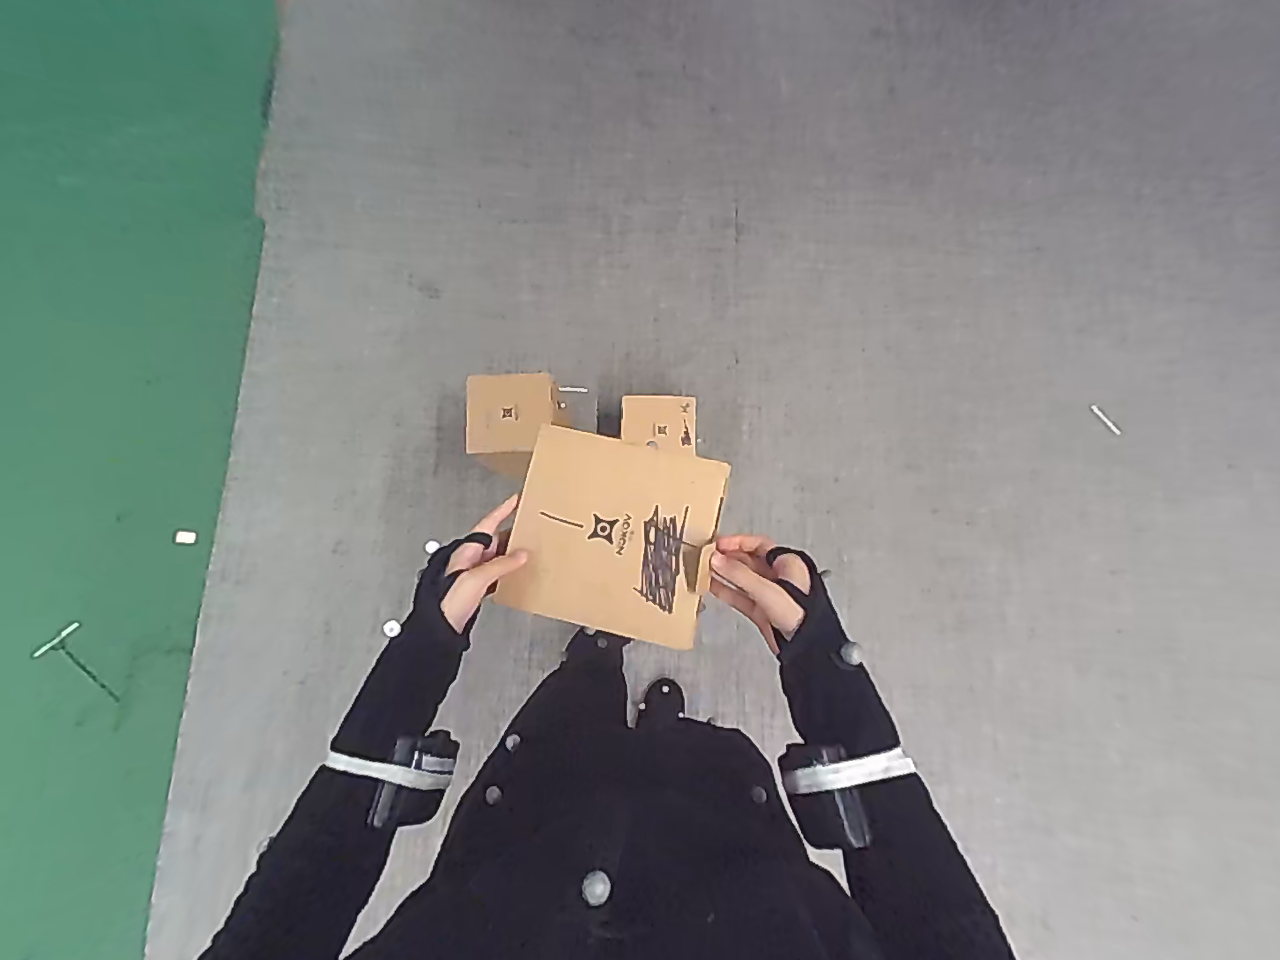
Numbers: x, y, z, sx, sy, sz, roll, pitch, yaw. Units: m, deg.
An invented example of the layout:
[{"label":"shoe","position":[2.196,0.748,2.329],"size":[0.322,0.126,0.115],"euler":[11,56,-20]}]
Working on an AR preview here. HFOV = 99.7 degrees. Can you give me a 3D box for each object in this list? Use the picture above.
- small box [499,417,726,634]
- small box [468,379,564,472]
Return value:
[{"label":"small box","position":[-0.018,0.051,0.562],"size":[0.179,0.176,0.168],"euler":[12,80,7]},{"label":"small box","position":[-0.262,-0.115,1.183],"size":[0.179,0.176,0.168],"euler":[-2,79,1]}]
